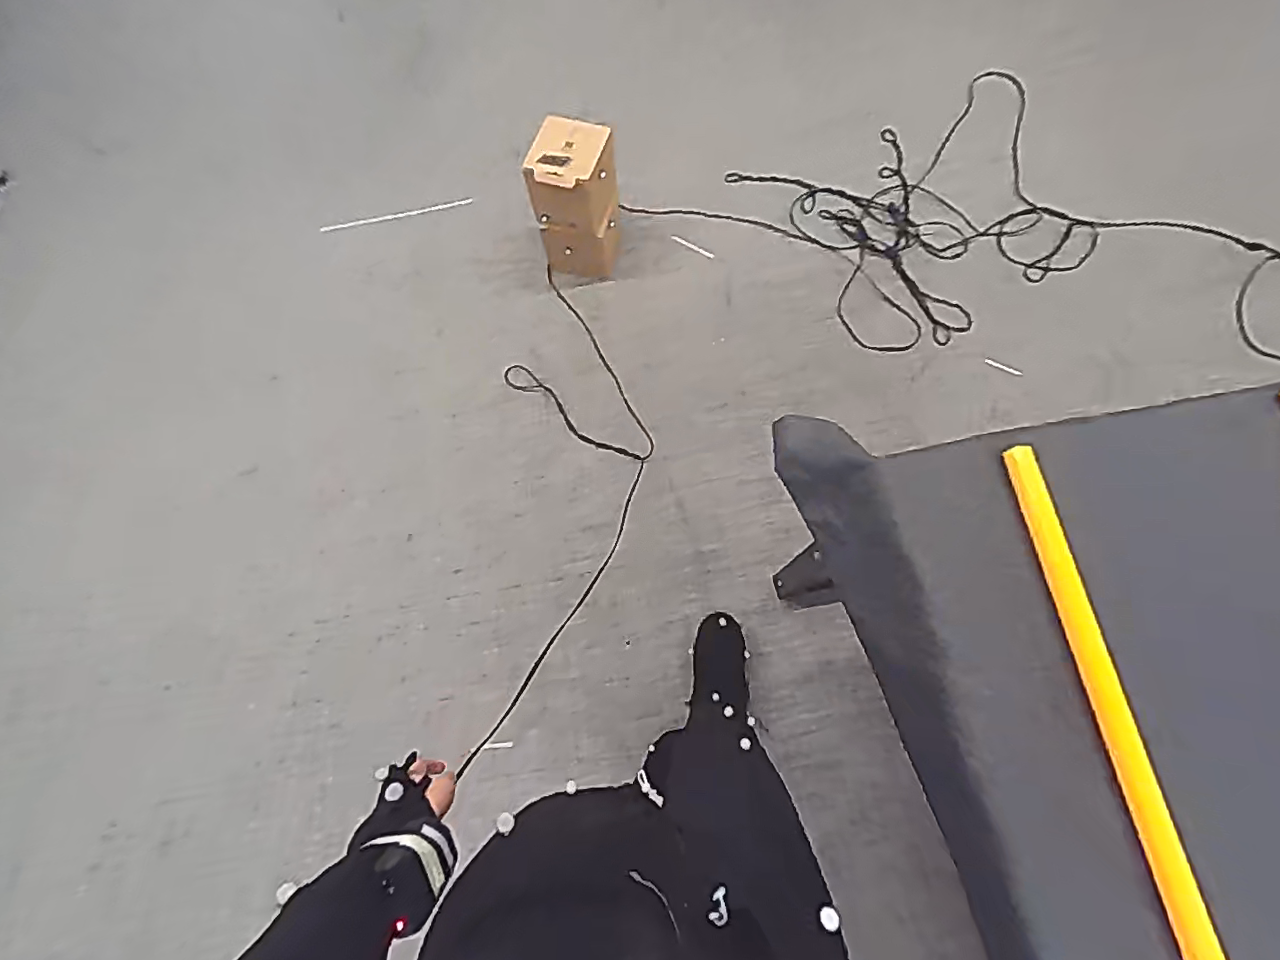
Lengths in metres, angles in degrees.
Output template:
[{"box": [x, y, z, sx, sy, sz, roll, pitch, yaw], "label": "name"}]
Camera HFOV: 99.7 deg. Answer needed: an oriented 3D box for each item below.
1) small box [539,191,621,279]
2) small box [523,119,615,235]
[{"box": [-0.158, -0.682, 1.494, 0.179, 0.176, 0.168, 11, 72, 6], "label": "small box"}, {"box": [-0.166, -0.744, 1.341, 0.168, 0.176, 0.179, 16, 72, 7], "label": "small box"}]
